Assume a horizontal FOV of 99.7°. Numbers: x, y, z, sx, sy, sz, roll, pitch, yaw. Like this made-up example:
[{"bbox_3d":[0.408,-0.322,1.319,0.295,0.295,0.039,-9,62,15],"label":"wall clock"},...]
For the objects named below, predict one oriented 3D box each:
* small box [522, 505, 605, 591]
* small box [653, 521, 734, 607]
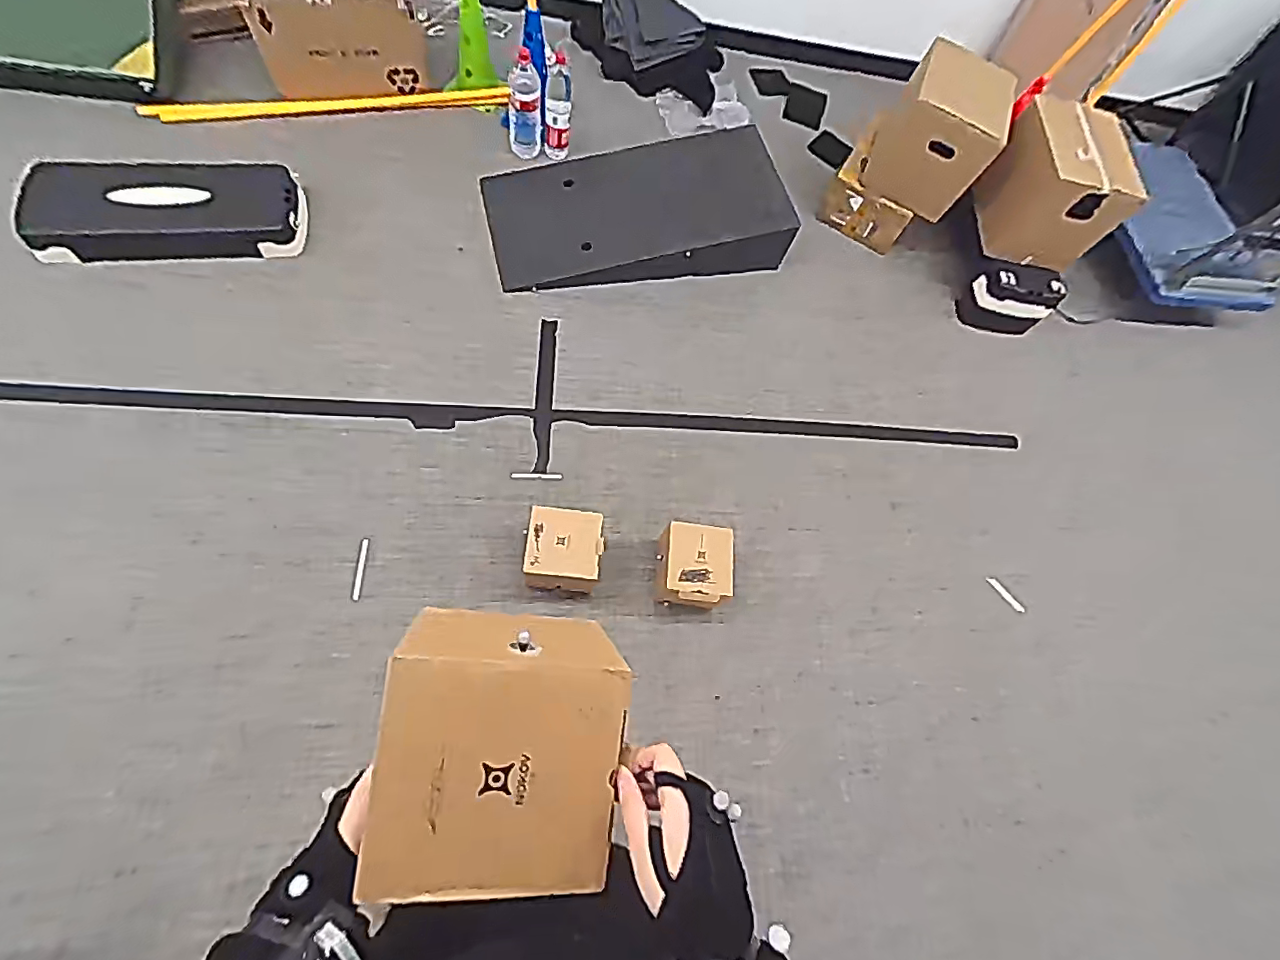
[{"bbox_3d":[-0.192,0.176,1.344,0.179,0.176,0.168,9,66,-9],"label":"small box"},{"bbox_3d":[0.133,0.223,1.390,0.168,0.176,0.179,9,66,-8],"label":"small box"}]
